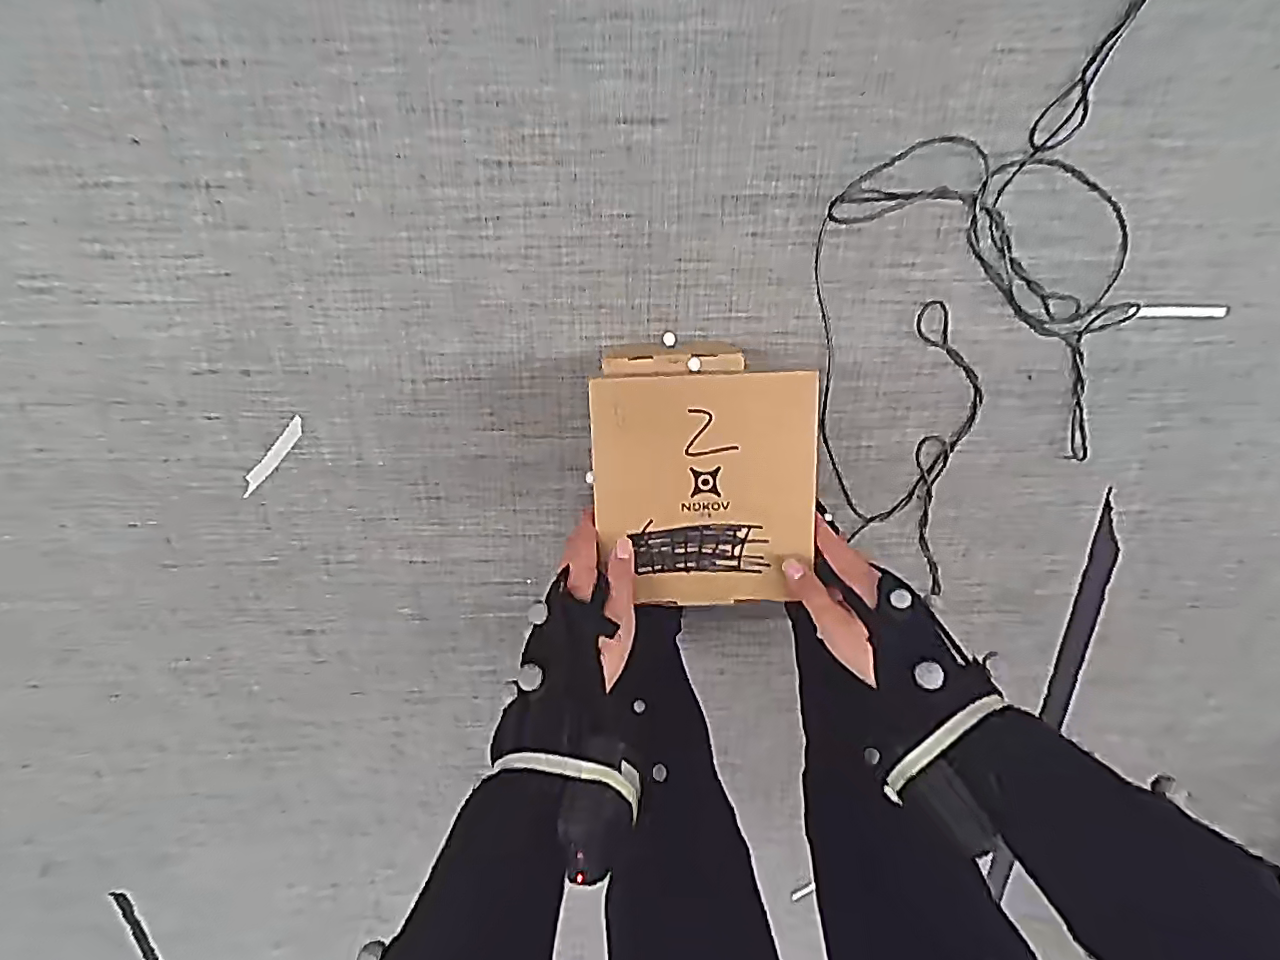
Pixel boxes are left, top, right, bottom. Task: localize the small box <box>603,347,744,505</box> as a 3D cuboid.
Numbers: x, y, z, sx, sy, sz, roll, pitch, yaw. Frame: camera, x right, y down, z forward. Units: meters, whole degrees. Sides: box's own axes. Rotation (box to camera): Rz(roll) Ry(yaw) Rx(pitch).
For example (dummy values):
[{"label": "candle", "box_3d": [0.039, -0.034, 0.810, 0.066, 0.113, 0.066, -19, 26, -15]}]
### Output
[{"label": "small box", "box_3d": [0.042, -0.079, 0.724, 0.168, 0.176, 0.179, -2, 109, 1]}]
